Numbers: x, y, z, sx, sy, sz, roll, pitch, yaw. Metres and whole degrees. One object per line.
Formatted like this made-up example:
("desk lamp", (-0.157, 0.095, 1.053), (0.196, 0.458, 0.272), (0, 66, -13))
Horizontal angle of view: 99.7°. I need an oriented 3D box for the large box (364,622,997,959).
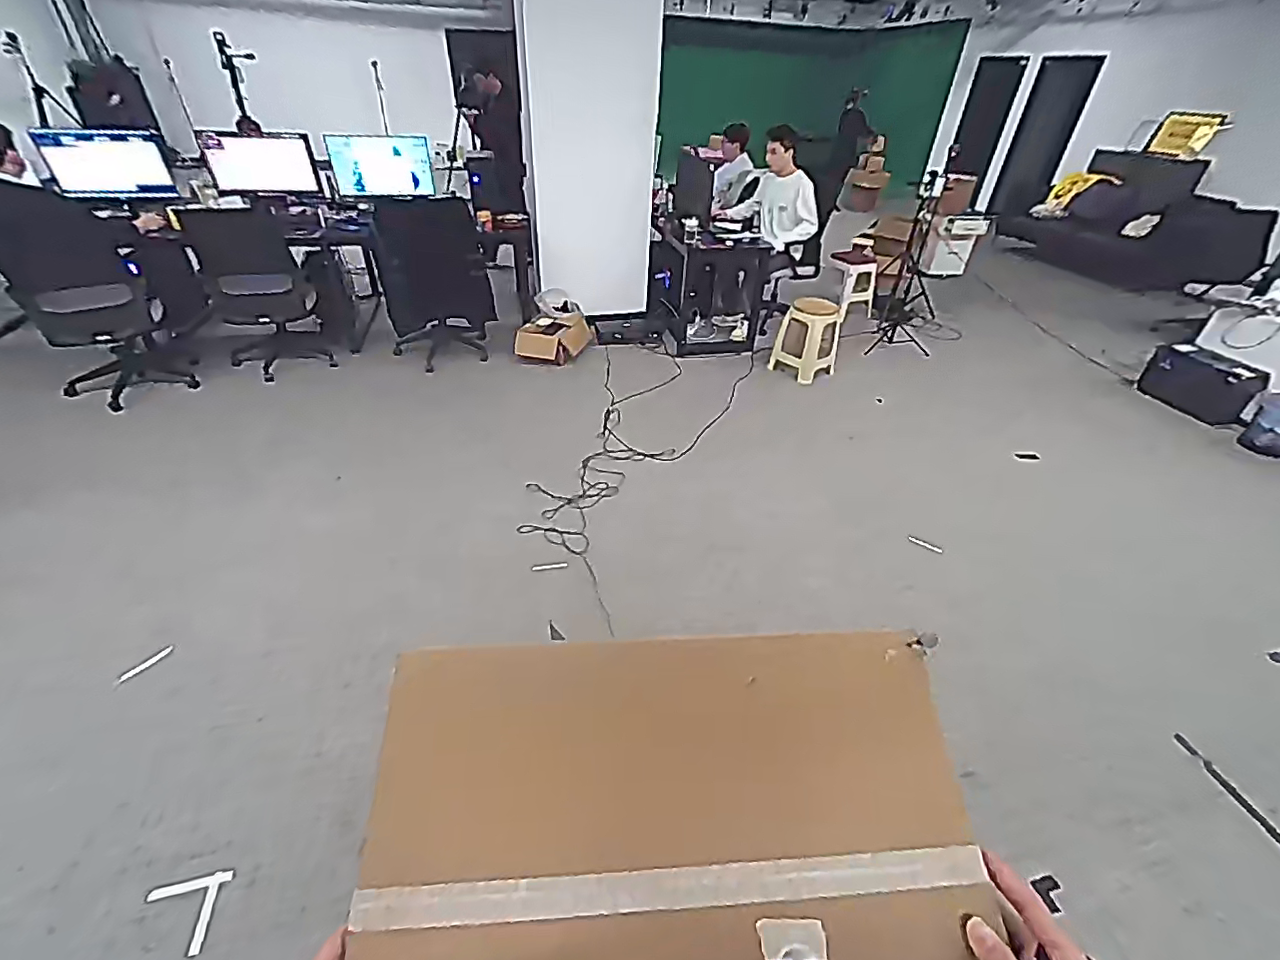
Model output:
("large box", (0.018, 0.330, 0.490), (0.408, 0.320, 0.320), (-1, 62, -4))
